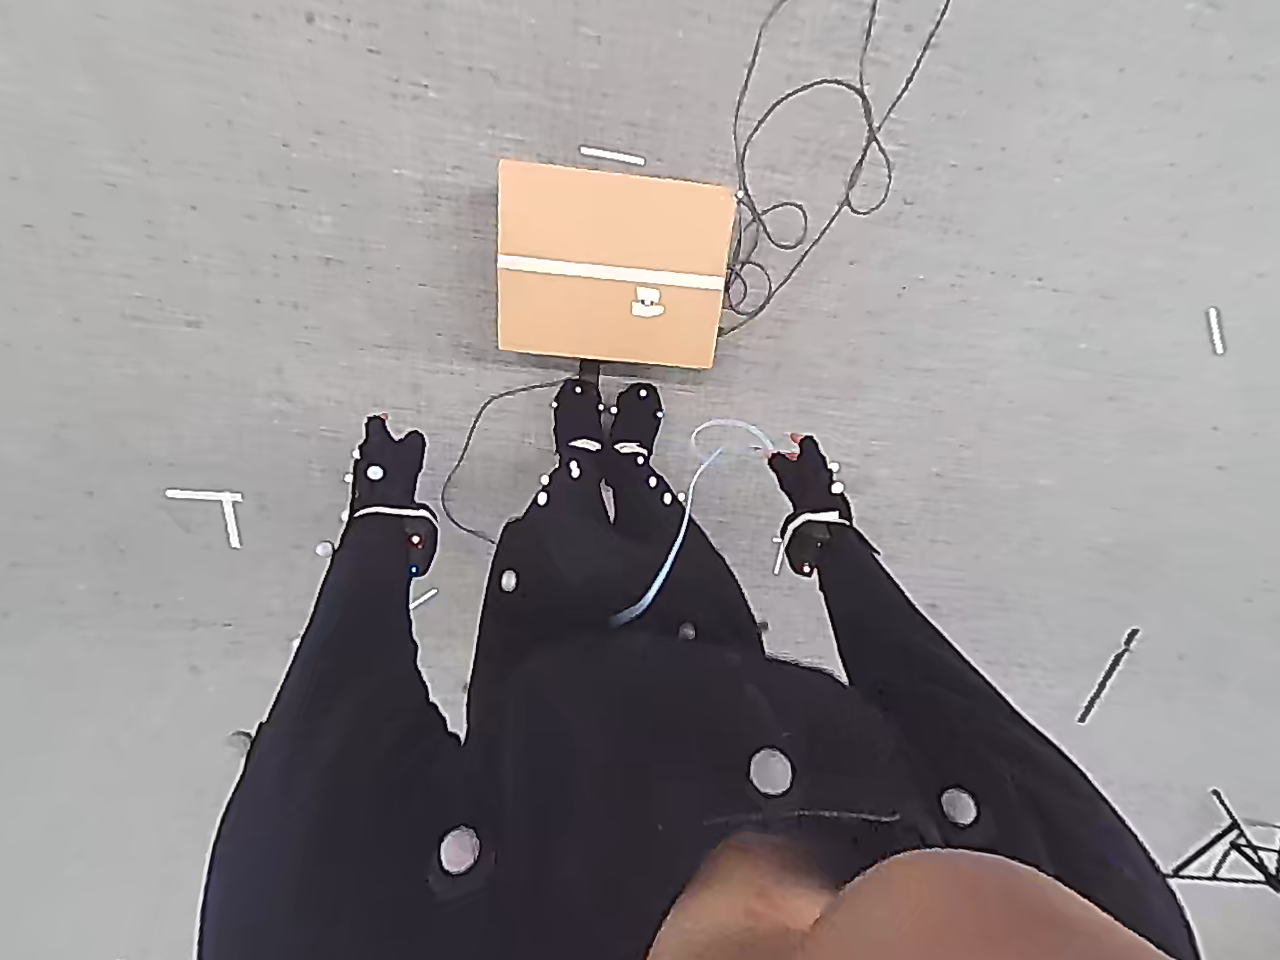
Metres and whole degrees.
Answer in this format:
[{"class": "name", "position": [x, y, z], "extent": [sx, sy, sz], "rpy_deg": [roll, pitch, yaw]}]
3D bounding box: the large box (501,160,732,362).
[{"class": "large box", "position": [-0.062, -0.435, 1.112], "extent": [0.408, 0.320, 0.320], "rpy_deg": [4, 112, -7]}]
